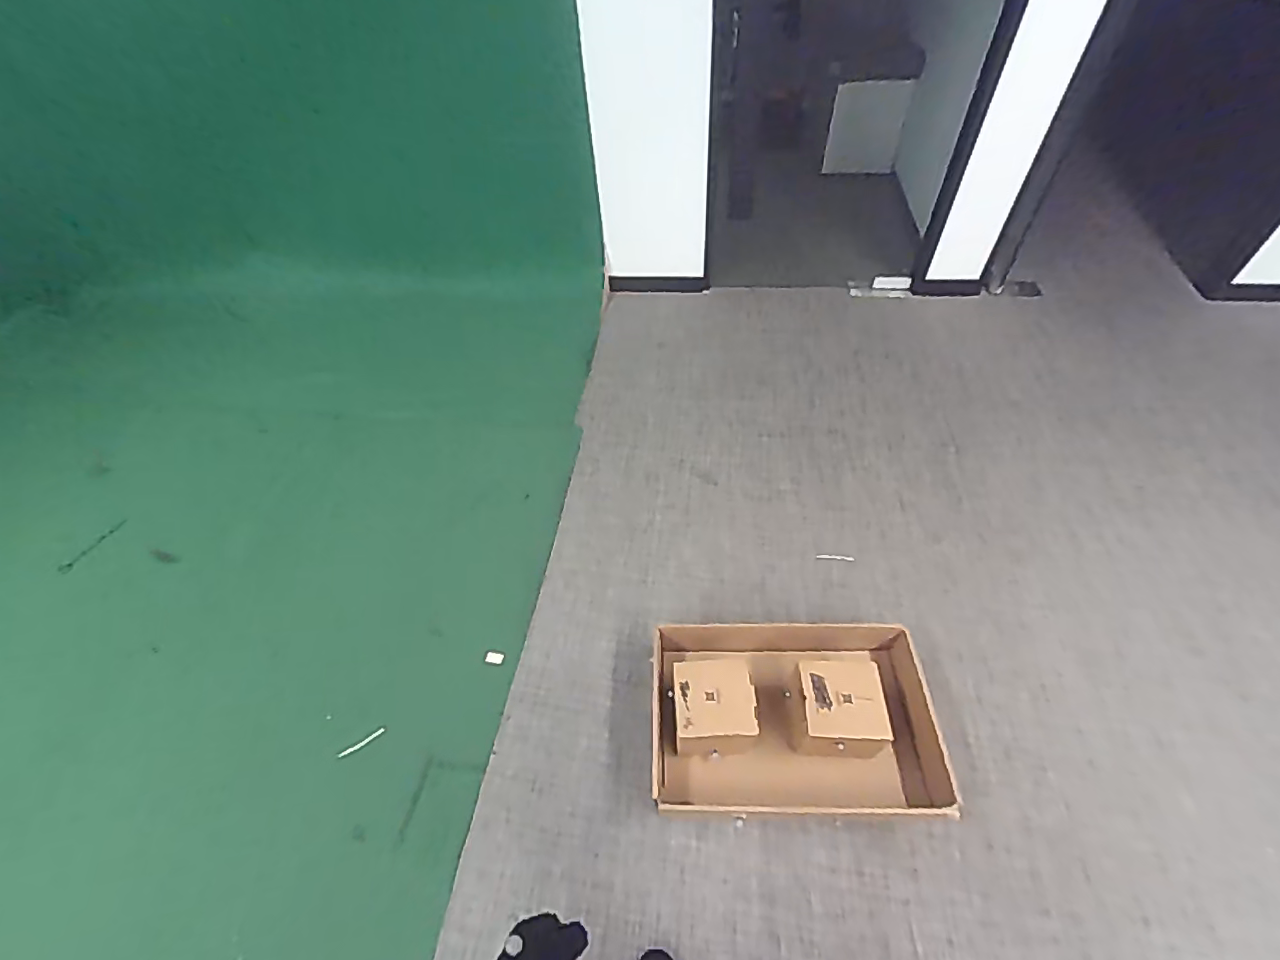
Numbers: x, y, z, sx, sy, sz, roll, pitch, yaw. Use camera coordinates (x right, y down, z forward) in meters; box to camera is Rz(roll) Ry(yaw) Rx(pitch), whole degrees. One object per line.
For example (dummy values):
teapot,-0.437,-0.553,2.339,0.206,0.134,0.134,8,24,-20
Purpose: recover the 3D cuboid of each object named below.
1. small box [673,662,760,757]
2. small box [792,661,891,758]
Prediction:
small box,0.171,0.537,1.263,0.179,0.176,0.168,-2,50,1
small box,0.451,0.531,1.246,0.179,0.176,0.168,0,51,5
